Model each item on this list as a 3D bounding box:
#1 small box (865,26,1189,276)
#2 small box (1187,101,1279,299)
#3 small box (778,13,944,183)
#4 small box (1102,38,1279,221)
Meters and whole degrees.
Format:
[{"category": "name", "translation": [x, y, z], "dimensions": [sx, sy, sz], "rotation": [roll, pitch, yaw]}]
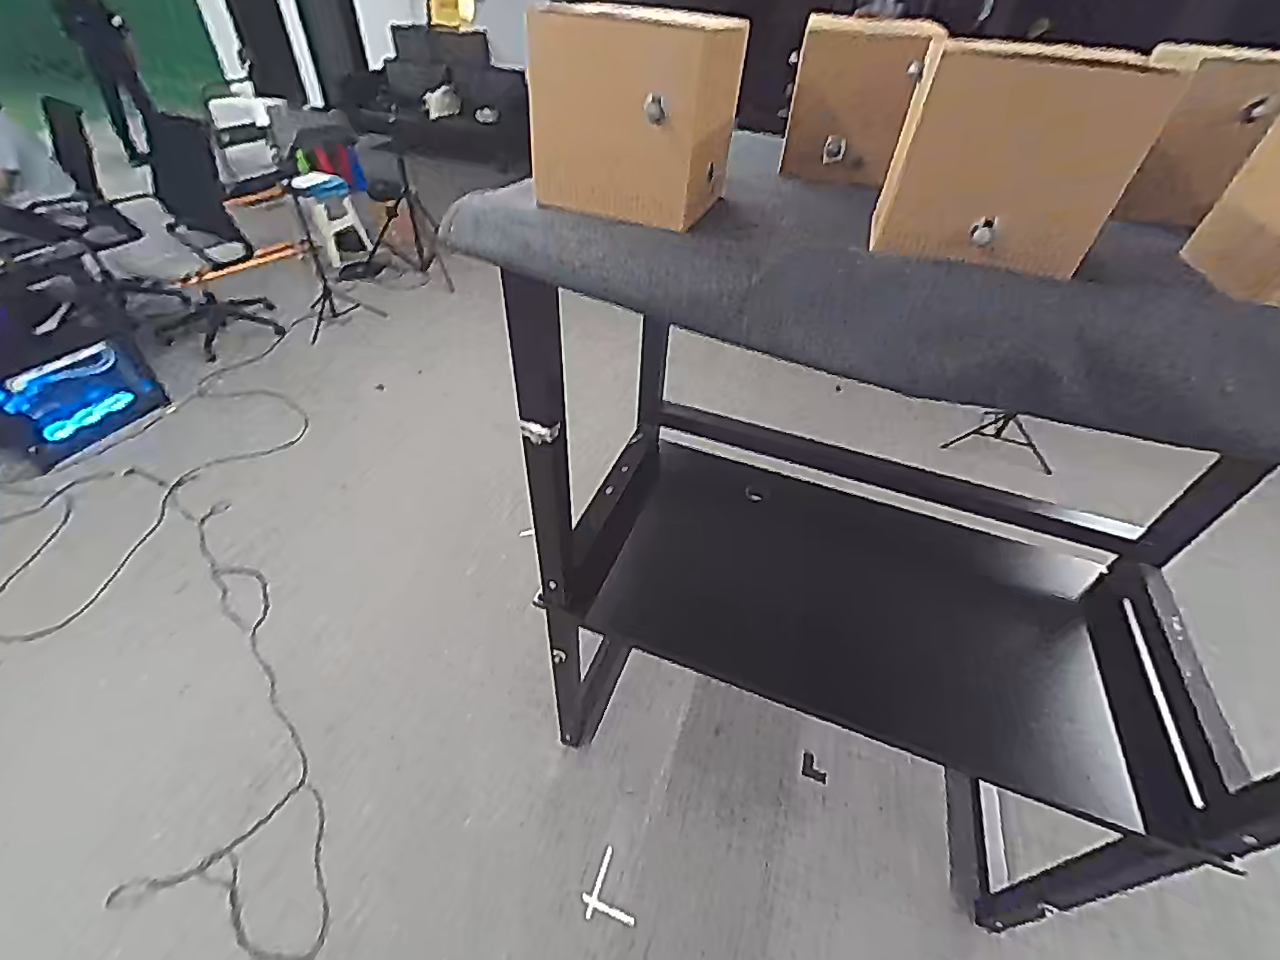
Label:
[{"category": "small box", "translation": [0.336, -0.312, 0.515], "dimensions": [0.179, 0.176, 0.168], "rotation": [16, 43, 12]}, {"category": "small box", "translation": [0.649, -0.244, 0.465], "dimensions": [0.168, 0.176, 0.179], "rotation": [14, 43, 12]}, {"category": "small box", "translation": [0.294, -0.536, 0.757], "dimensions": [0.168, 0.176, 0.179], "rotation": [11, 43, 9]}, {"category": "small box", "translation": [0.707, -0.435, 0.674], "dimensions": [0.179, 0.176, 0.168], "rotation": [16, 45, 13]}]
